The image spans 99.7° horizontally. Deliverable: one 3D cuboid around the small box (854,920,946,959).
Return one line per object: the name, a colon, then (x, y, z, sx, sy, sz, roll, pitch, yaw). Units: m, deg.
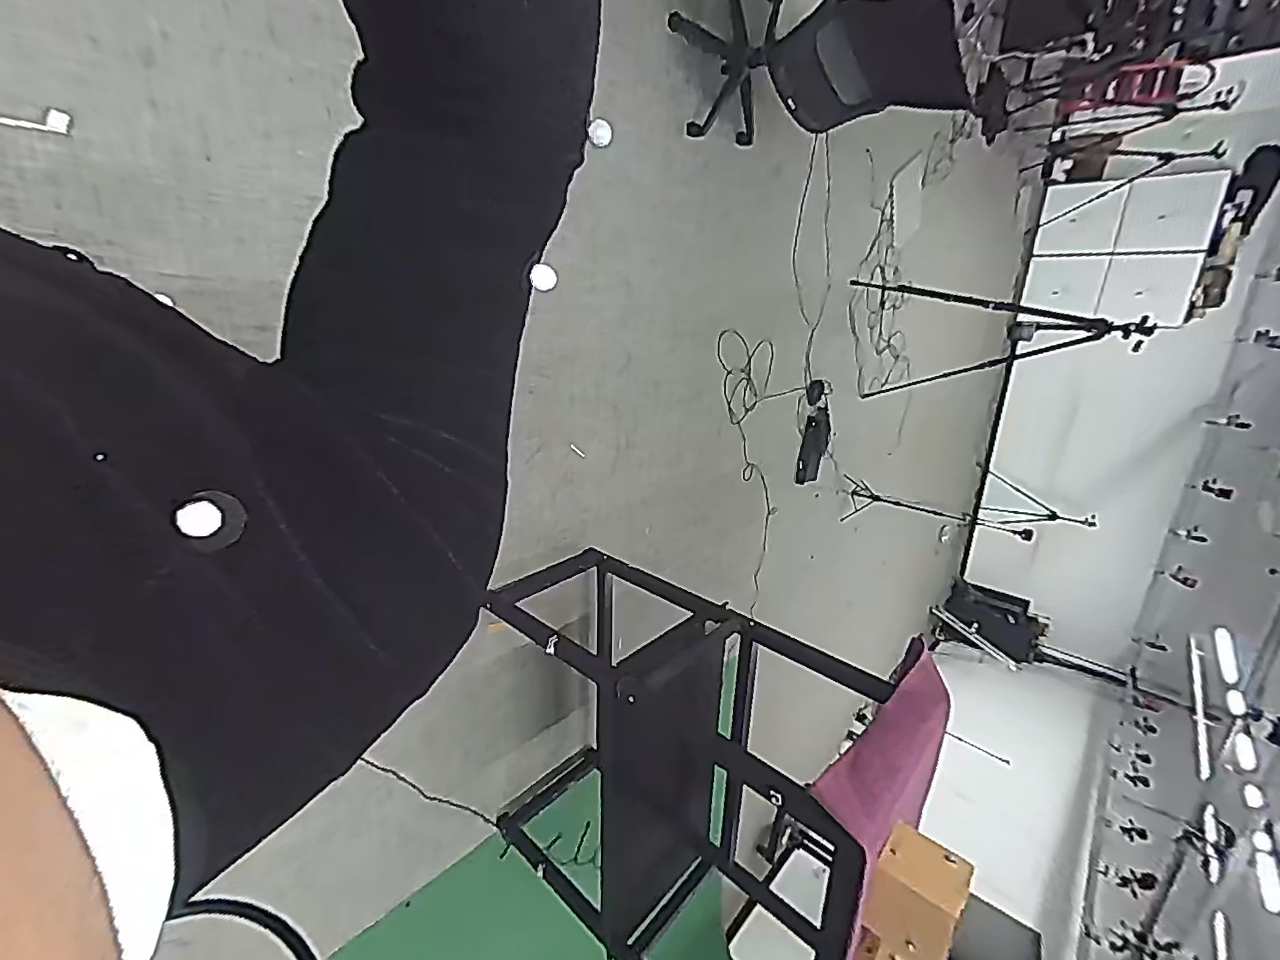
small box: (0.611, 1.218, 1.300, 0.168, 0.176, 0.179, -13, 112, -46)
